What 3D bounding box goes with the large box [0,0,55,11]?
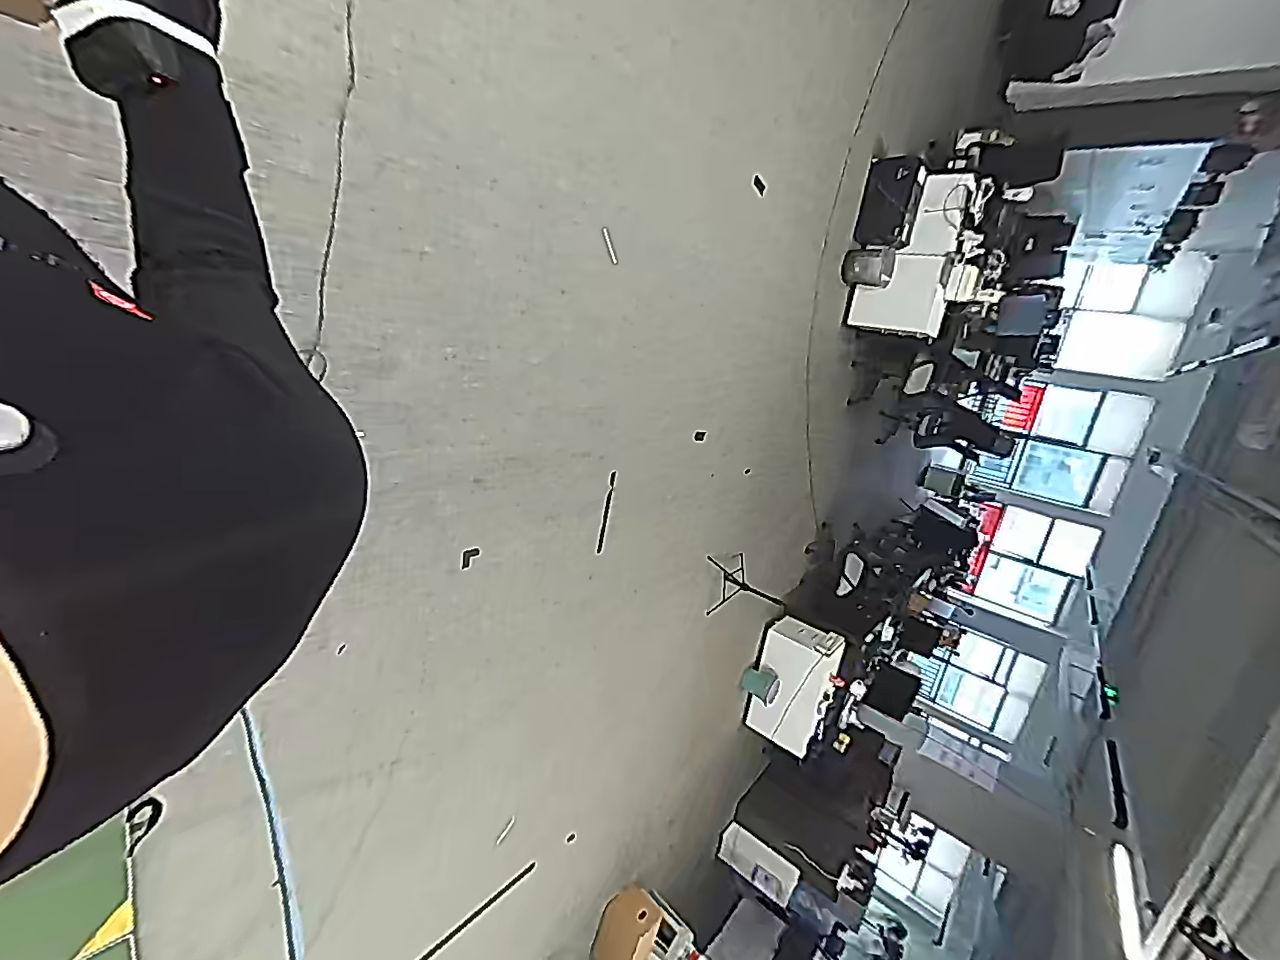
[{"bbox_3d":[-0.573,-0.515,0.253,0.408,0.320,0.320,-13,124,-53],"label":"large box"}]
